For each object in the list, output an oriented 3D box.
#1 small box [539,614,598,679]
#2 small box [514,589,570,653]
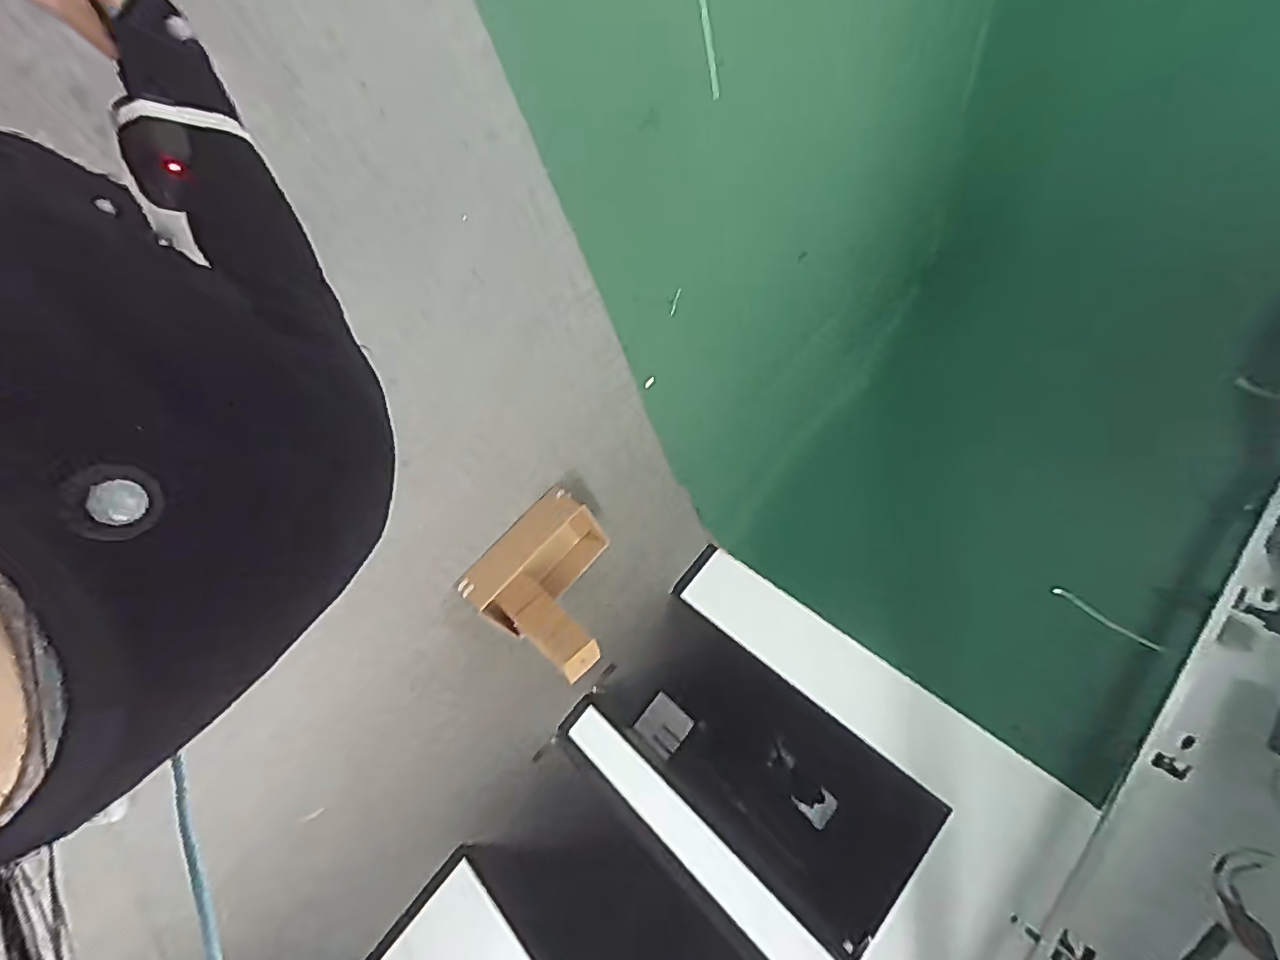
[{"bbox_3d":[-0.300,0.690,2.264,0.168,0.176,0.179,-37,144,-25],"label":"small box"},{"bbox_3d":[-0.413,0.609,2.349,0.179,0.176,0.168,-40,145,-23],"label":"small box"}]
